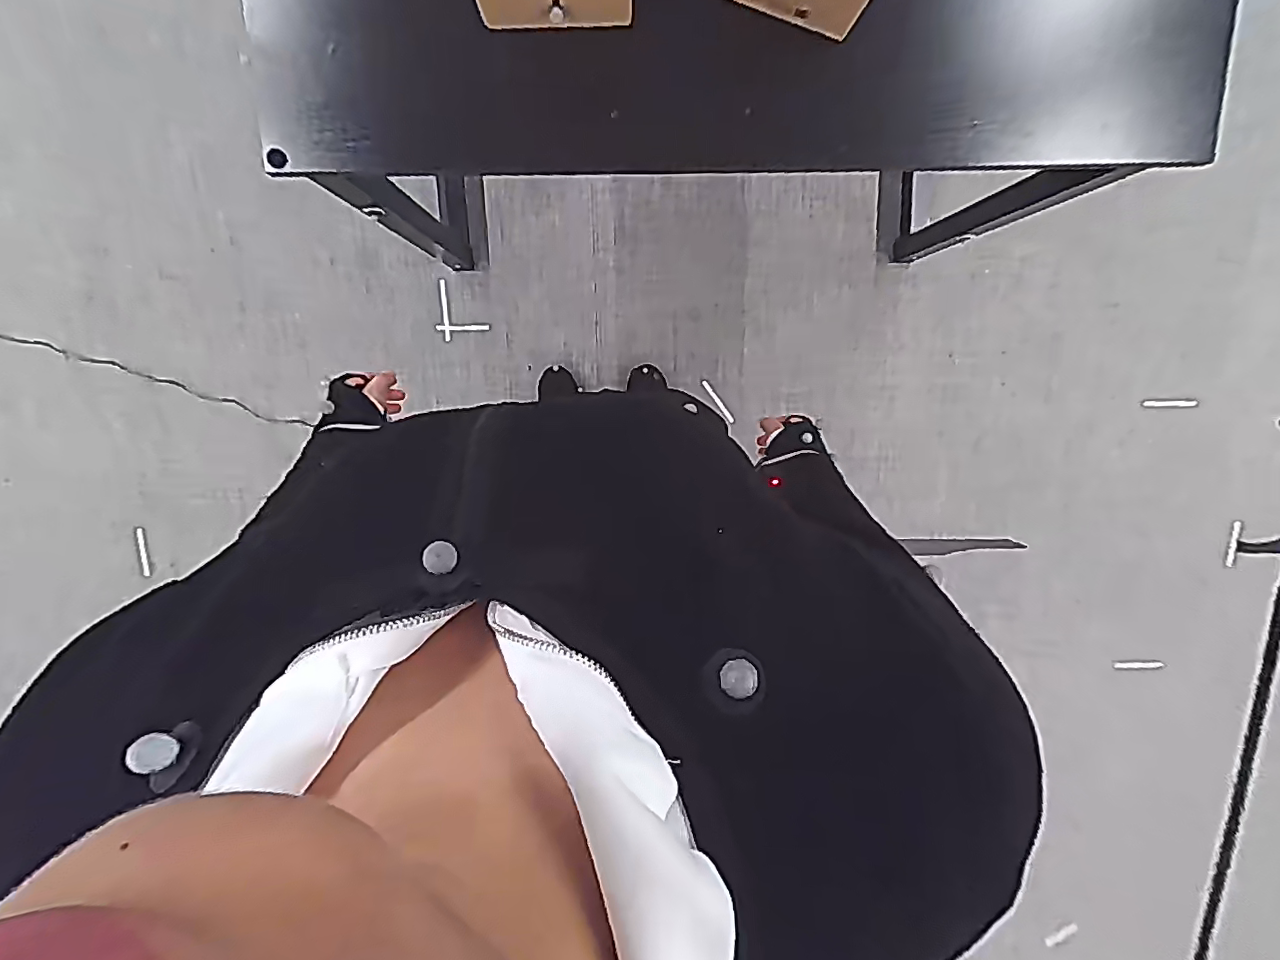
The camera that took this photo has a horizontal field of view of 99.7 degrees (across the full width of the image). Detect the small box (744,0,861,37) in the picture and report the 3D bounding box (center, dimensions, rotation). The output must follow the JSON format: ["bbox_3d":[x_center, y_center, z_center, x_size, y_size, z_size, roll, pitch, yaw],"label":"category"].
[{"bbox_3d":[0.195,-0.629,0.571,0.168,0.176,0.179,17,99,-6],"label":"small box"}]

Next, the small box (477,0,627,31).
[{"bbox_3d":[-0.098,-0.611,0.564,0.179,0.176,0.168,-3,101,-2],"label":"small box"}]
